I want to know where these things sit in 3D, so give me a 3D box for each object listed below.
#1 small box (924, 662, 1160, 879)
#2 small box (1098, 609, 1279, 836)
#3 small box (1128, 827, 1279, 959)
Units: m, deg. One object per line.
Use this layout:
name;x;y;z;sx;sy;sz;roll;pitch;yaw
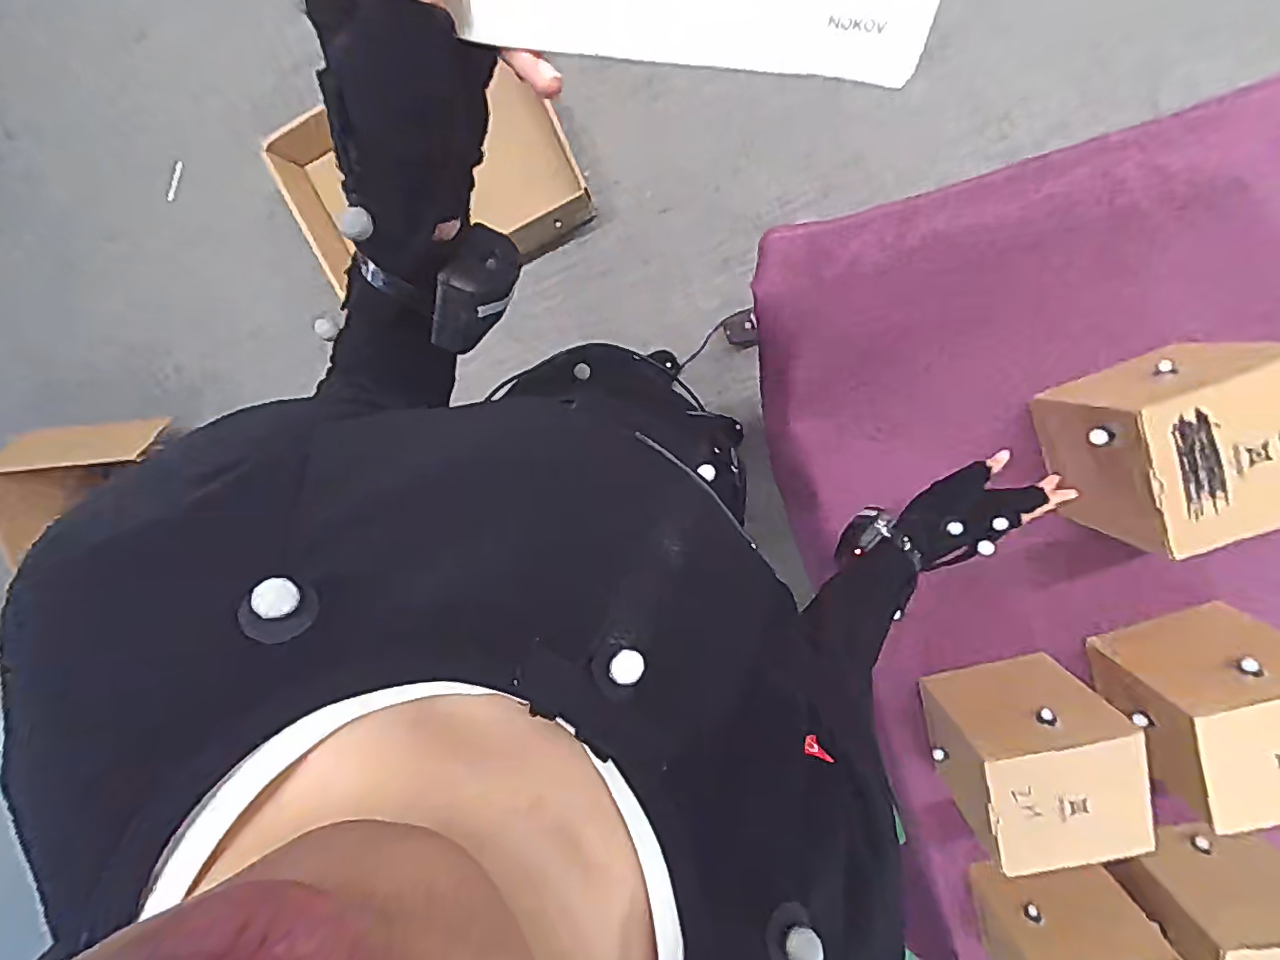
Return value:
small box;0.500;0.358;0.693;0.179;0.176;0.168;-14;101;6
small box;0.715;0.286;0.667;0.179;0.176;0.168;-20;101;7
small box;0.810;0.607;0.731;0.179;0.176;0.168;-13;102;7
